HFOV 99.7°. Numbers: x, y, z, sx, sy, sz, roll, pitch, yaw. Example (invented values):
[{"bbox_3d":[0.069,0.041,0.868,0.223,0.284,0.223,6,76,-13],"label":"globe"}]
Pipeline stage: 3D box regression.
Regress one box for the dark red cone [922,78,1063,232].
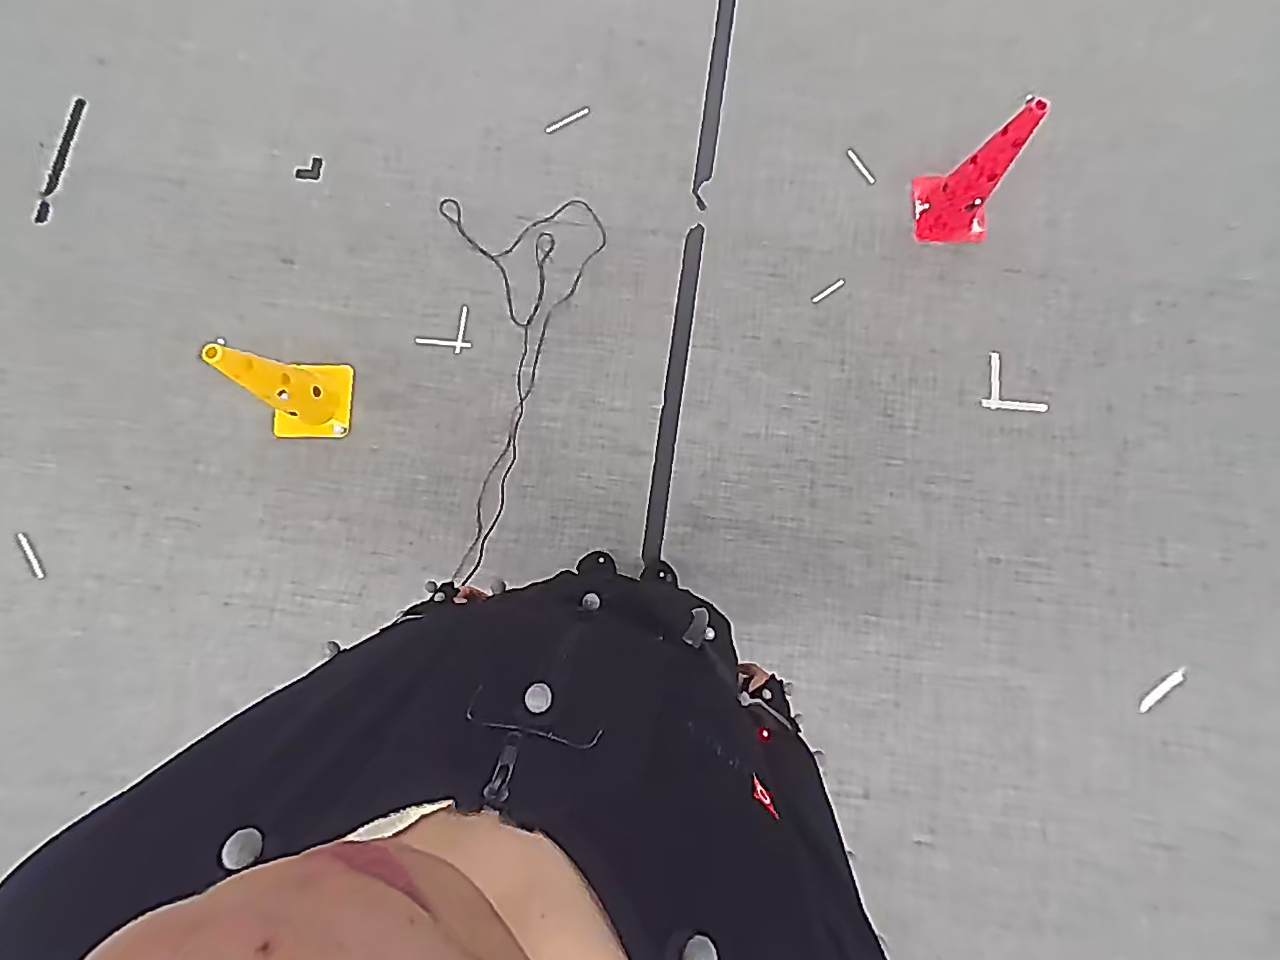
[{"bbox_3d":[0.872,-0.799,1.318,0.201,0.394,0.202,0,82,2],"label":"dark red cone"}]
